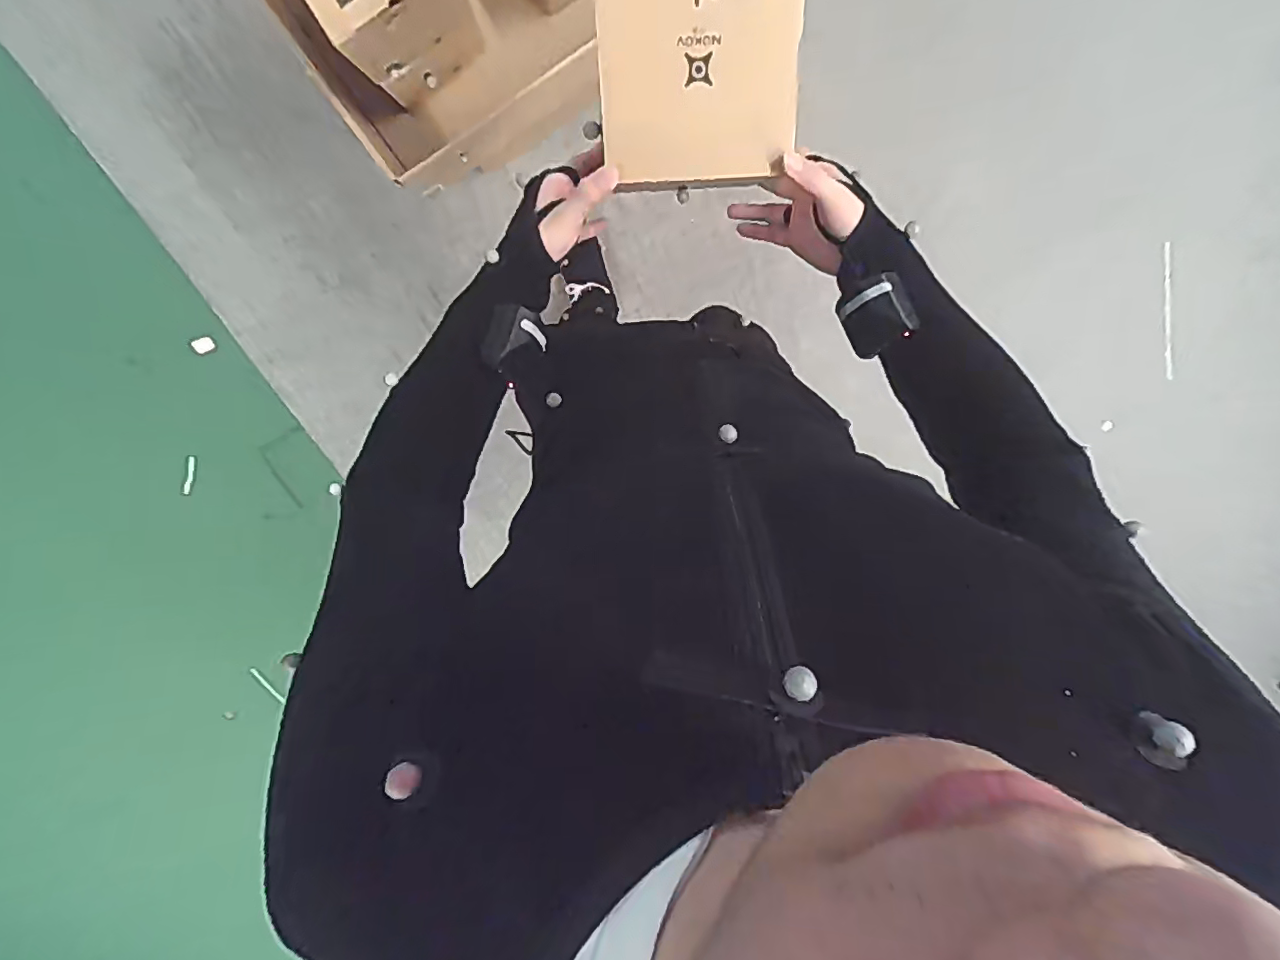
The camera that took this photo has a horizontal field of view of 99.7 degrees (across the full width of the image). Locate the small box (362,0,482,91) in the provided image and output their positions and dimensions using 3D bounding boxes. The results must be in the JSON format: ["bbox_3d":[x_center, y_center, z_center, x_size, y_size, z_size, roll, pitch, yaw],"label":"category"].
[{"bbox_3d":[-0.344,-0.686,0.760,0.168,0.176,0.179,-32,115,5],"label":"small box"}]

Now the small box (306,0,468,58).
[{"bbox_3d":[-0.317,-0.621,0.612,0.168,0.176,0.179,-28,115,3],"label":"small box"}]

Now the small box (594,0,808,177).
[{"bbox_3d":[0.044,-0.378,0.491,0.168,0.176,0.179,-3,116,-2],"label":"small box"}]
